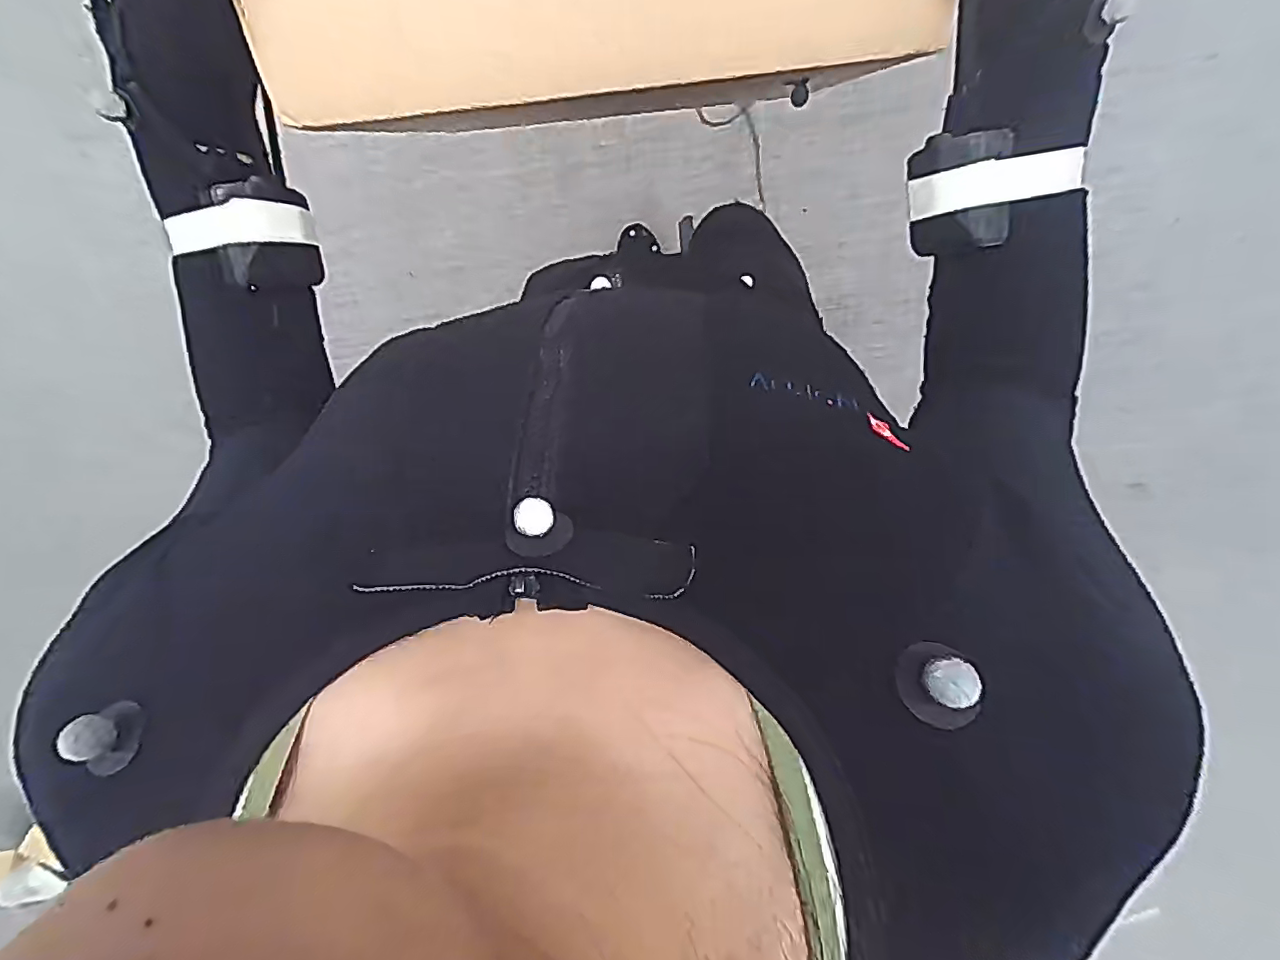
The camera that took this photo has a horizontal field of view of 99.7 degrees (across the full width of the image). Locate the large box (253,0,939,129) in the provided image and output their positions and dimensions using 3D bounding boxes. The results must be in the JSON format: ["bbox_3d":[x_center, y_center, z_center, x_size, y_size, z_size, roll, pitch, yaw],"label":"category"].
[{"bbox_3d":[-0.033,-0.451,0.379,0.408,0.320,0.320,-4,121,4],"label":"large box"}]
